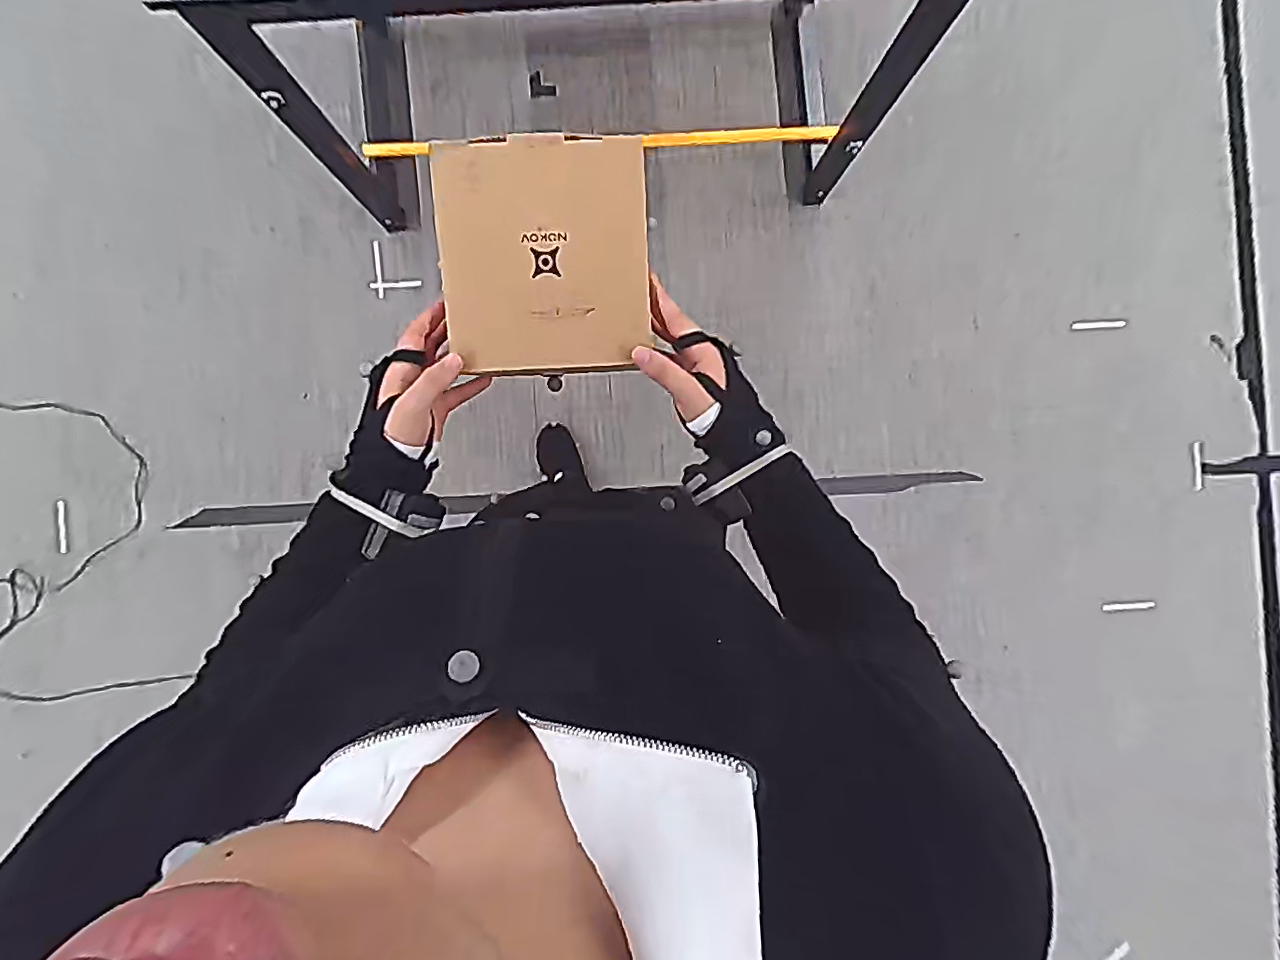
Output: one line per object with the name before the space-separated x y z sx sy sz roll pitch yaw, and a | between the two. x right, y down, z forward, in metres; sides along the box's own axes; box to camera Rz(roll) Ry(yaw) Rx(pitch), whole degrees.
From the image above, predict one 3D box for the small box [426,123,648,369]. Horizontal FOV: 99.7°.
small box | -0.083 -0.198 0.502 0.168 0.176 0.179 -3 101 -3
